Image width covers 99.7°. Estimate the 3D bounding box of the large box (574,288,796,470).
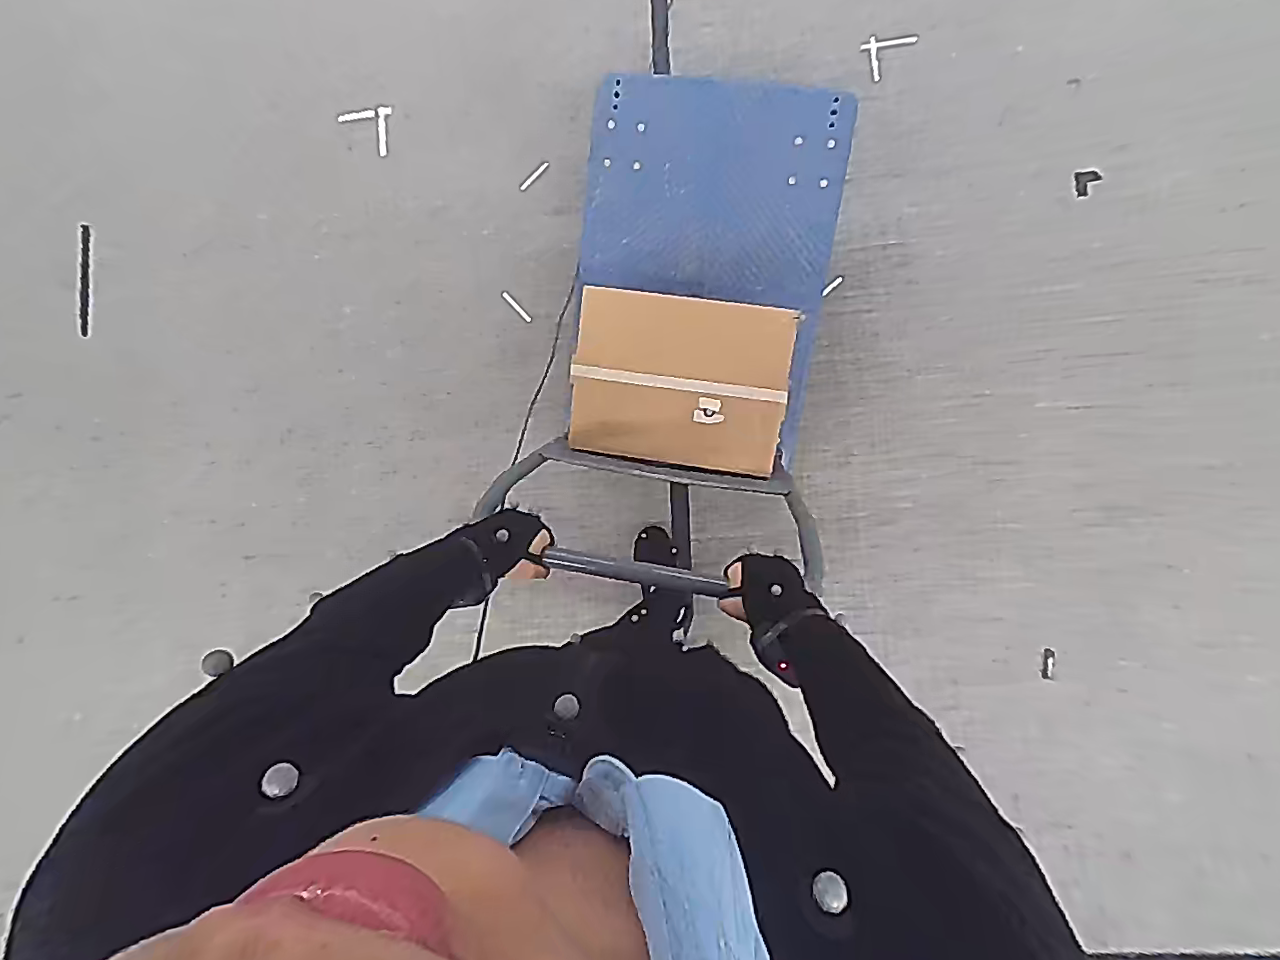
[{"bbox_3d":[0.091,-0.220,1.188,0.408,0.320,0.320,8,103,5],"label":"large box"}]
